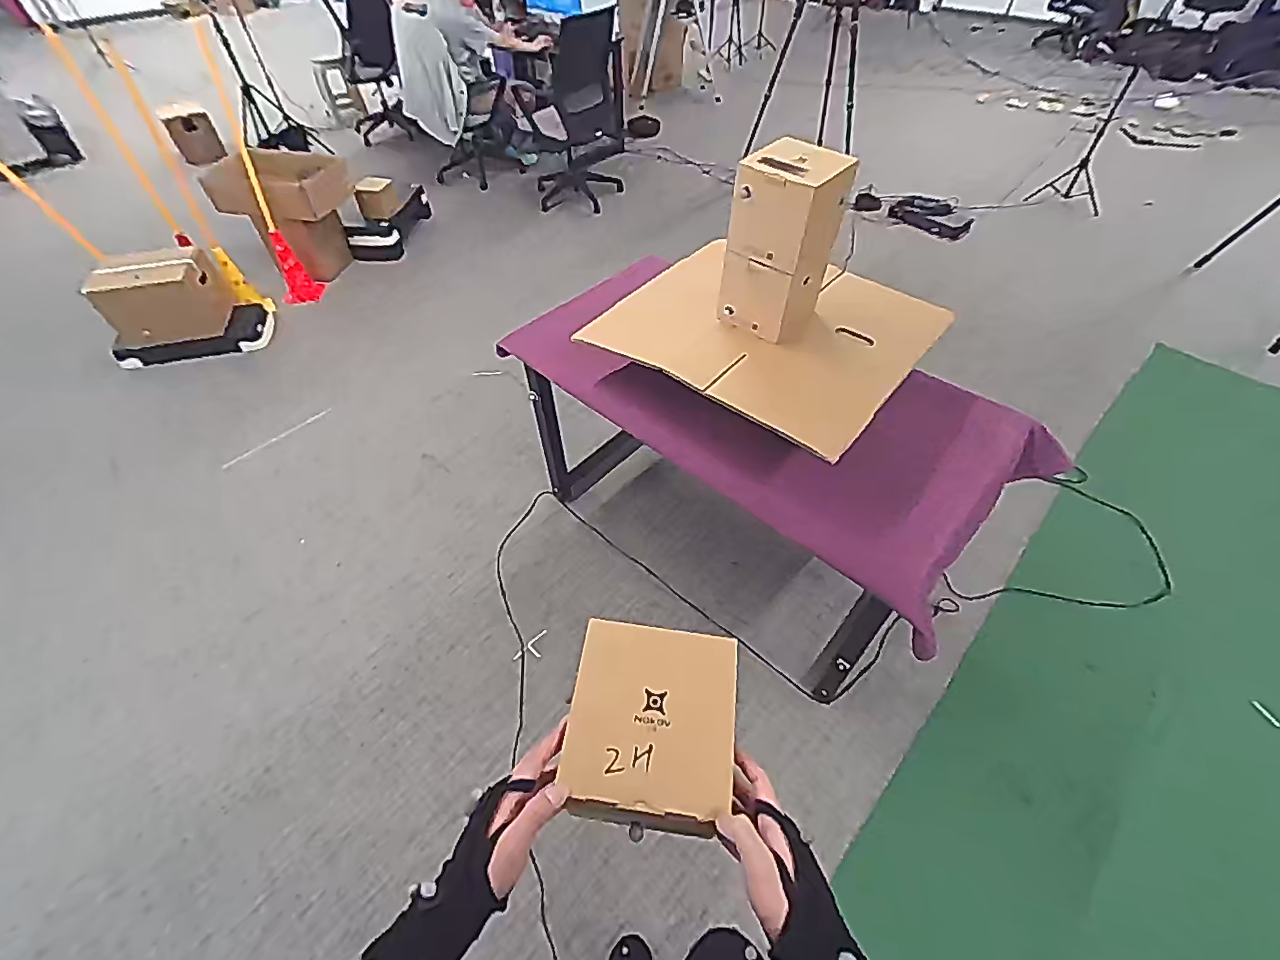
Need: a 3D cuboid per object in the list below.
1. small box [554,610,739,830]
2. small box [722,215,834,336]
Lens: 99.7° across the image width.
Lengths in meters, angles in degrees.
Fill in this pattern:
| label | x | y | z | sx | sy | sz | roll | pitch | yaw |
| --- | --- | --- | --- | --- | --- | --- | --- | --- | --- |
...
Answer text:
| label | x | y | z | sx | sy | sz | roll | pitch | yaw |
| --- | --- | --- | --- | --- | --- | --- | --- | --- | --- |
| small box | 0.011 | 0.269 | 0.602 | 0.168 | 0.176 | 0.179 | 7 | 54 | 5 |
| small box | 0.296 | -0.447 | 1.193 | 0.168 | 0.176 | 0.179 | 34 | 58 | 23 |
